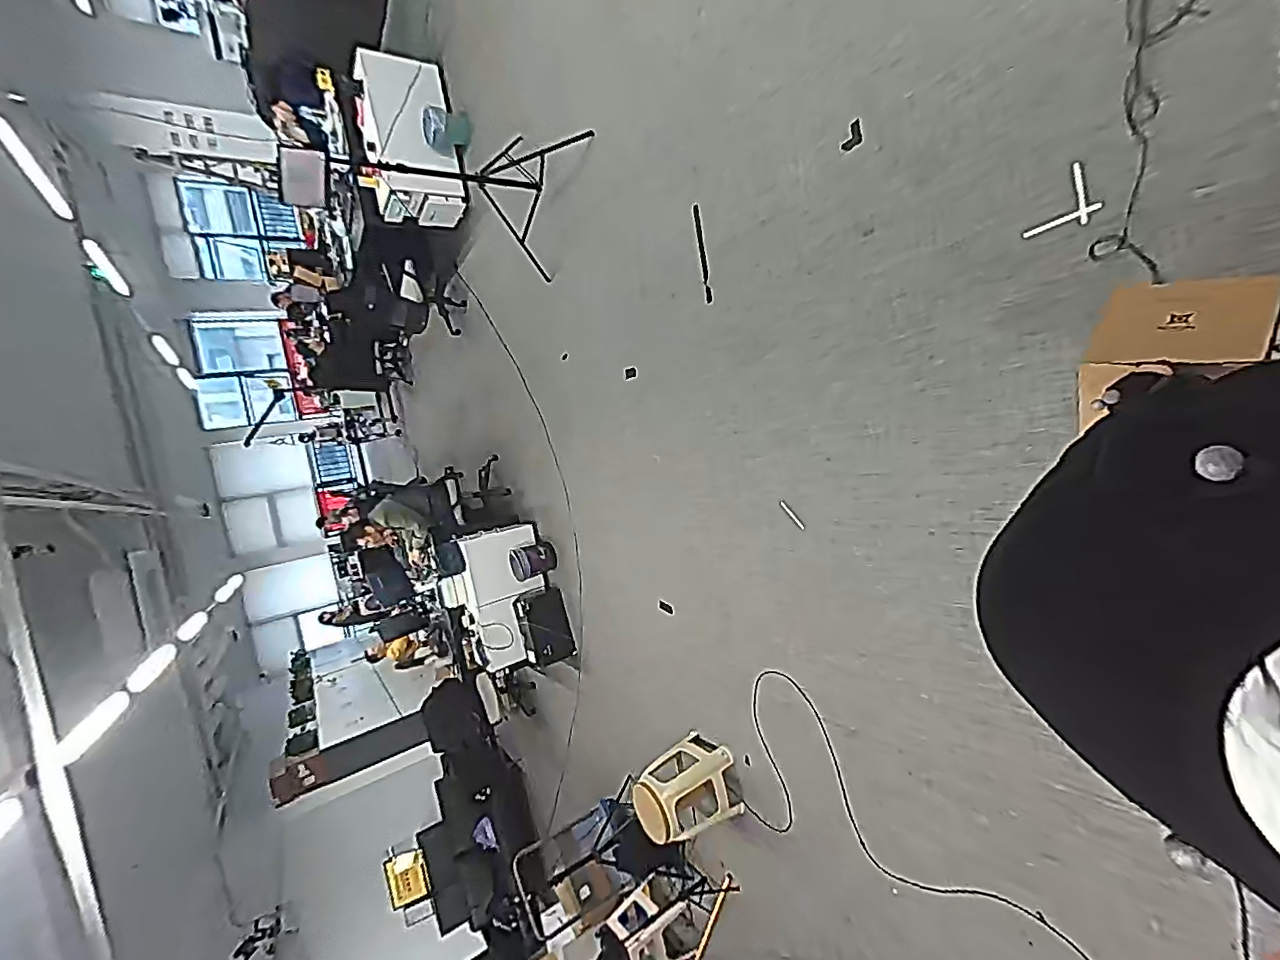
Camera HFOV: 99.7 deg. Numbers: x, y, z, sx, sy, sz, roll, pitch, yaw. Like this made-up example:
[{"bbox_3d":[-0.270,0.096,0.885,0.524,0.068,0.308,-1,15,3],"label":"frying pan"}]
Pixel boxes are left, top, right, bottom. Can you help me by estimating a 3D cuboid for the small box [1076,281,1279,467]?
[{"bbox_3d":[0.721,-0.139,0.732,0.168,0.179,0.176,15,146,48],"label":"small box"}]
